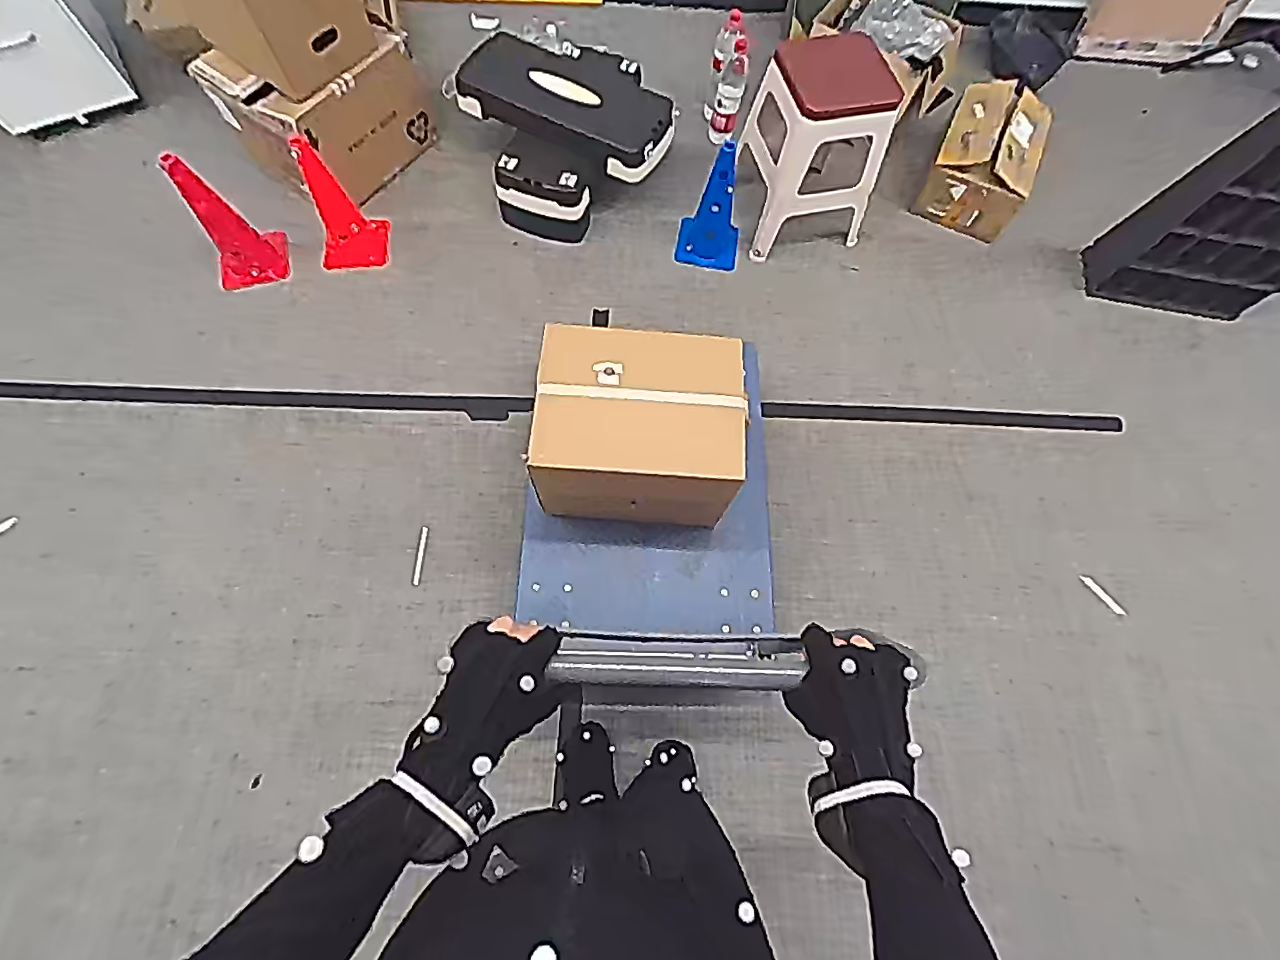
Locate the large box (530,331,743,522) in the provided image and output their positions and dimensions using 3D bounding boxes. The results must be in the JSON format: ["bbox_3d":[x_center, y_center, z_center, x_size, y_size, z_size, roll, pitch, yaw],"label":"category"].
[{"bbox_3d":[-0.002,-0.100,1.191,0.408,0.320,0.320,4,69,-1],"label":"large box"}]
